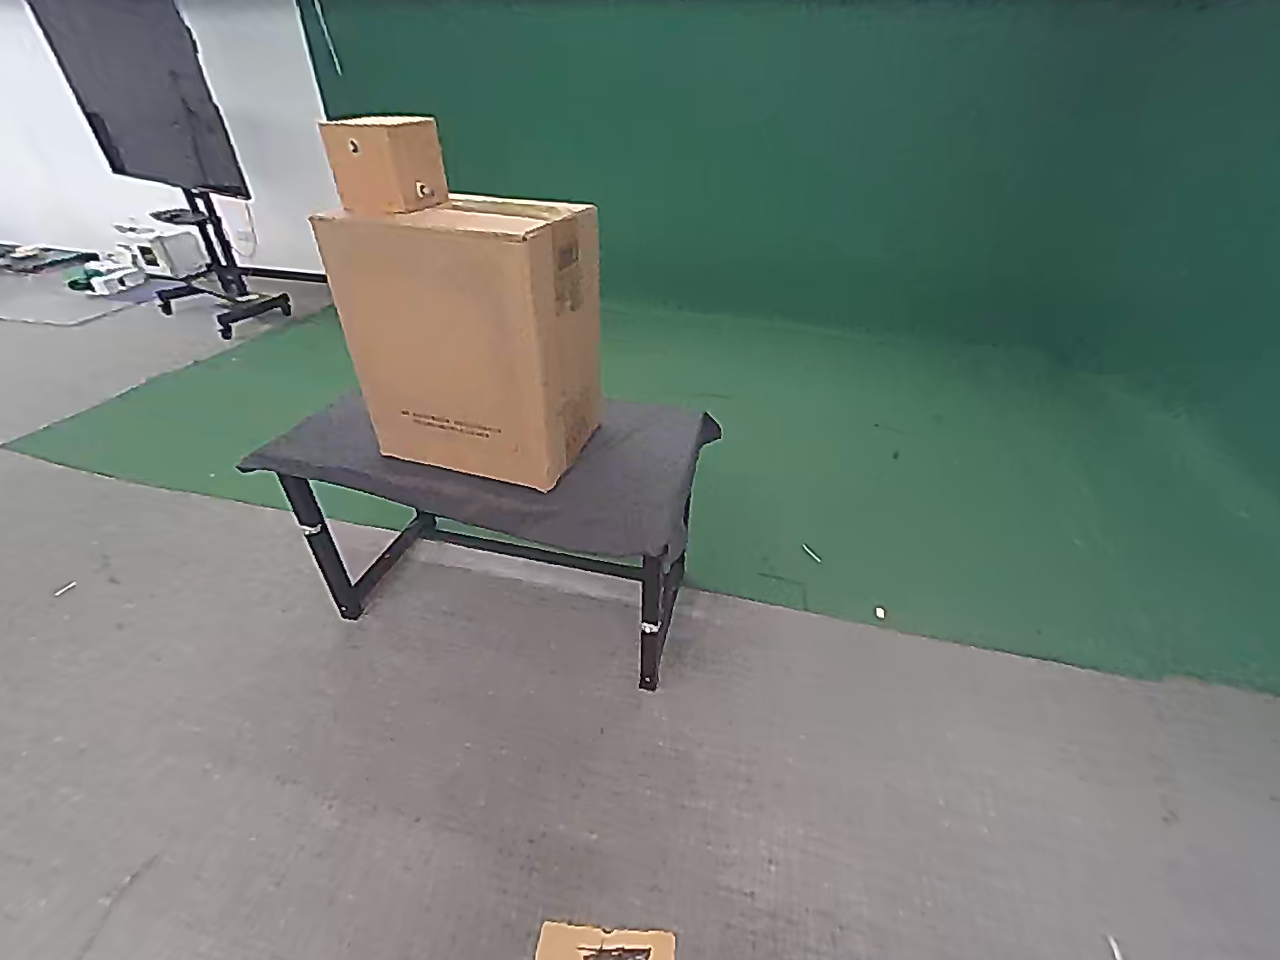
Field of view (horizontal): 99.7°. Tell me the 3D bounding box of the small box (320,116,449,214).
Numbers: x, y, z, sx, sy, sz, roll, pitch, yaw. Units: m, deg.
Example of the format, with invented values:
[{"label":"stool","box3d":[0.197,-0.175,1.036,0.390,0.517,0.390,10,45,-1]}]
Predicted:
[{"label":"small box","box3d":[-0.558,-0.703,1.206,0.179,0.176,0.168,13,40,13]}]
